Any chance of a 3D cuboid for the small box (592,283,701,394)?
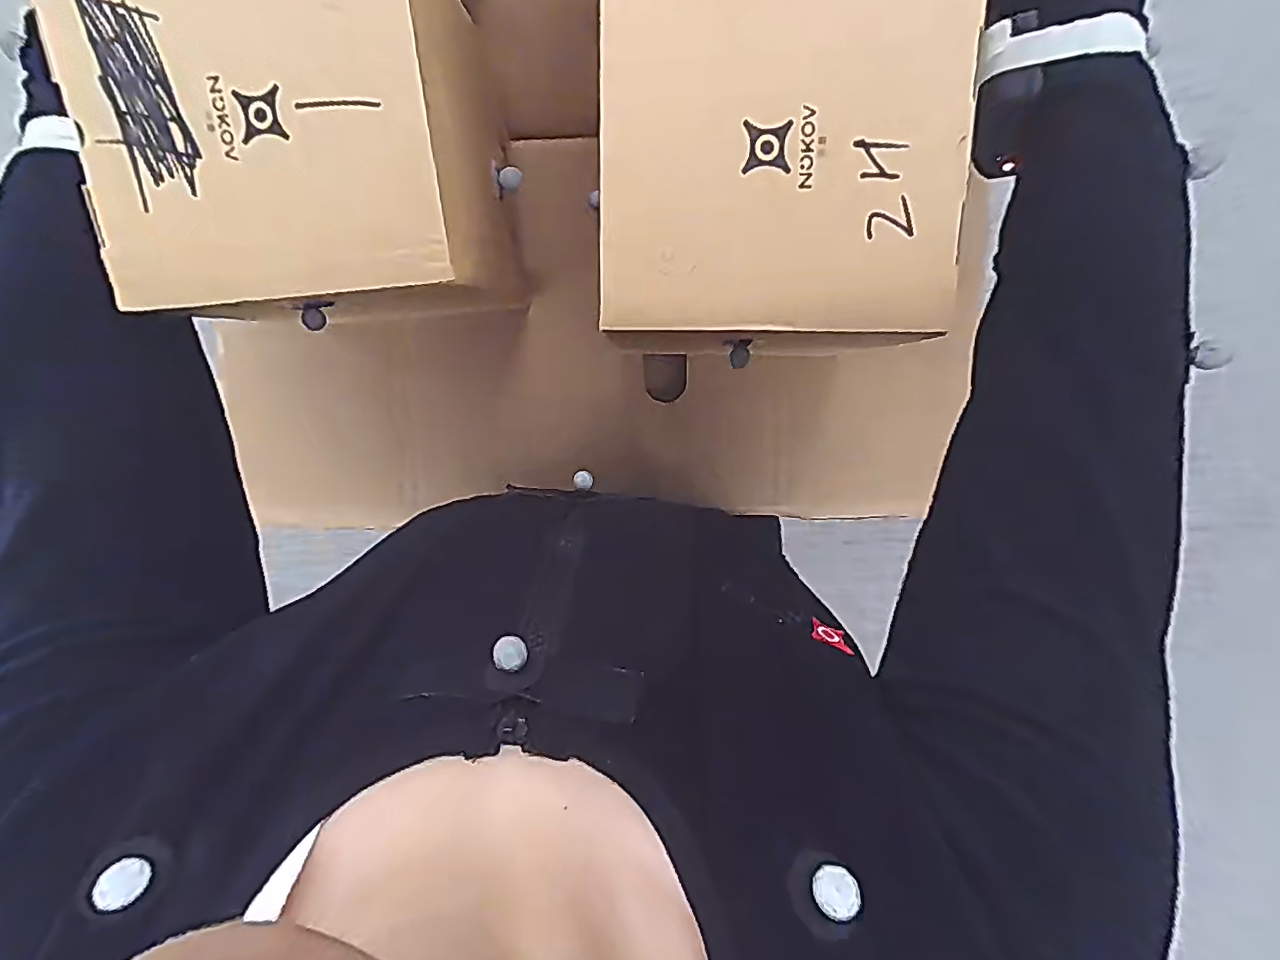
[{"bbox_3d":[0.006,-0.310,1.220,0.168,0.176,0.179,-27,99,-11],"label":"small box"}]
